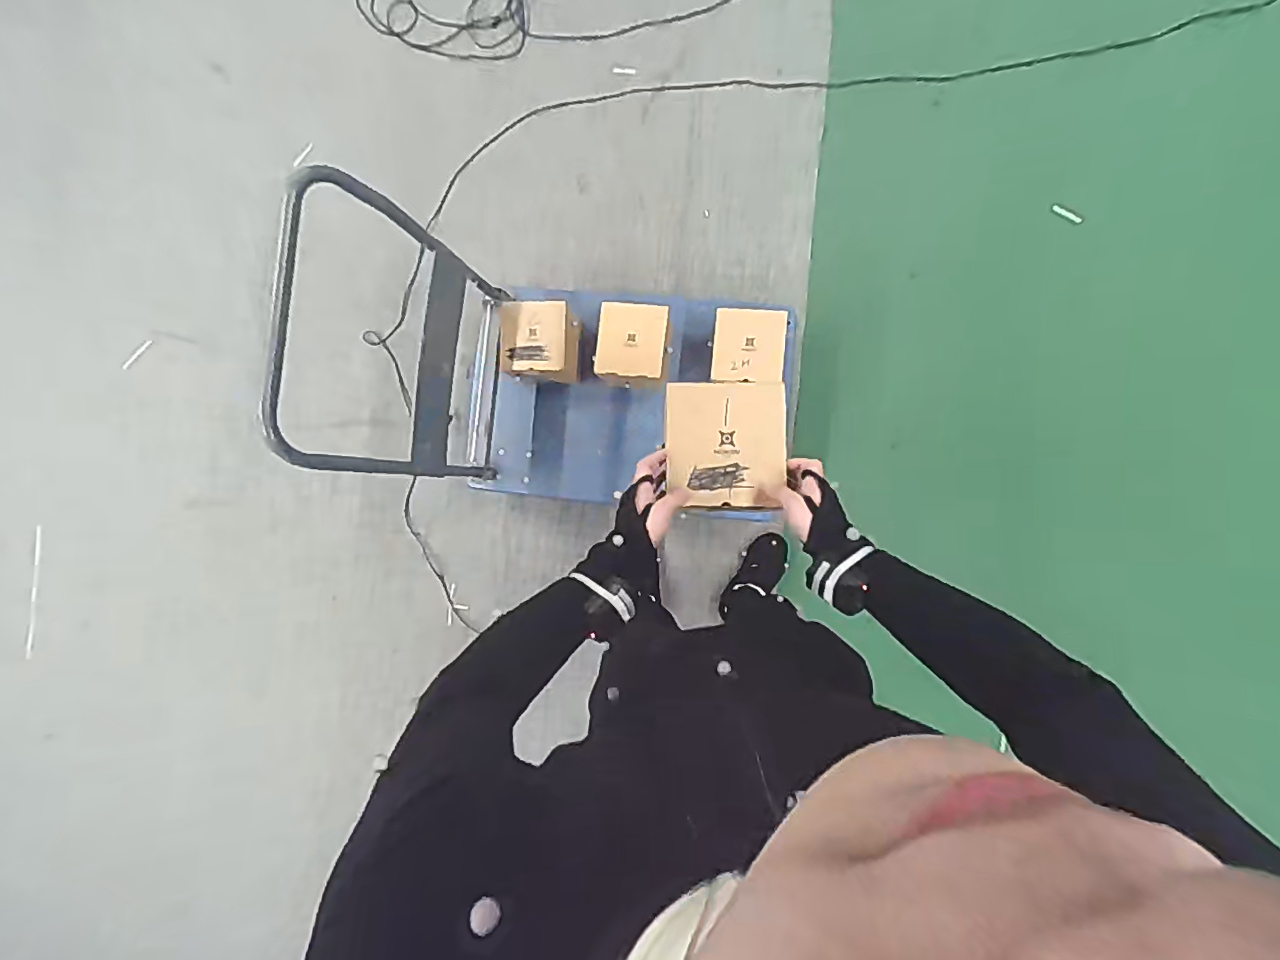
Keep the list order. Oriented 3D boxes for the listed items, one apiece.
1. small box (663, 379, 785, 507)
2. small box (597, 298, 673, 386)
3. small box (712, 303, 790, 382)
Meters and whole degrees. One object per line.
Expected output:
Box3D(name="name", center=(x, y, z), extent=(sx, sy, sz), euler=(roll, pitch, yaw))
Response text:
Box3D(name="small box", center=(0.121, -0.048, 0.830), extent=(0.168, 0.176, 0.179), euler=(1, 85, 1))
Box3D(name="small box", center=(-0.007, -0.347, 1.381), extent=(0.168, 0.176, 0.179), euler=(7, 91, 7))
Box3D(name="small box", center=(0.269, -0.321, 1.343), extent=(0.168, 0.176, 0.179), euler=(6, 90, 8))
